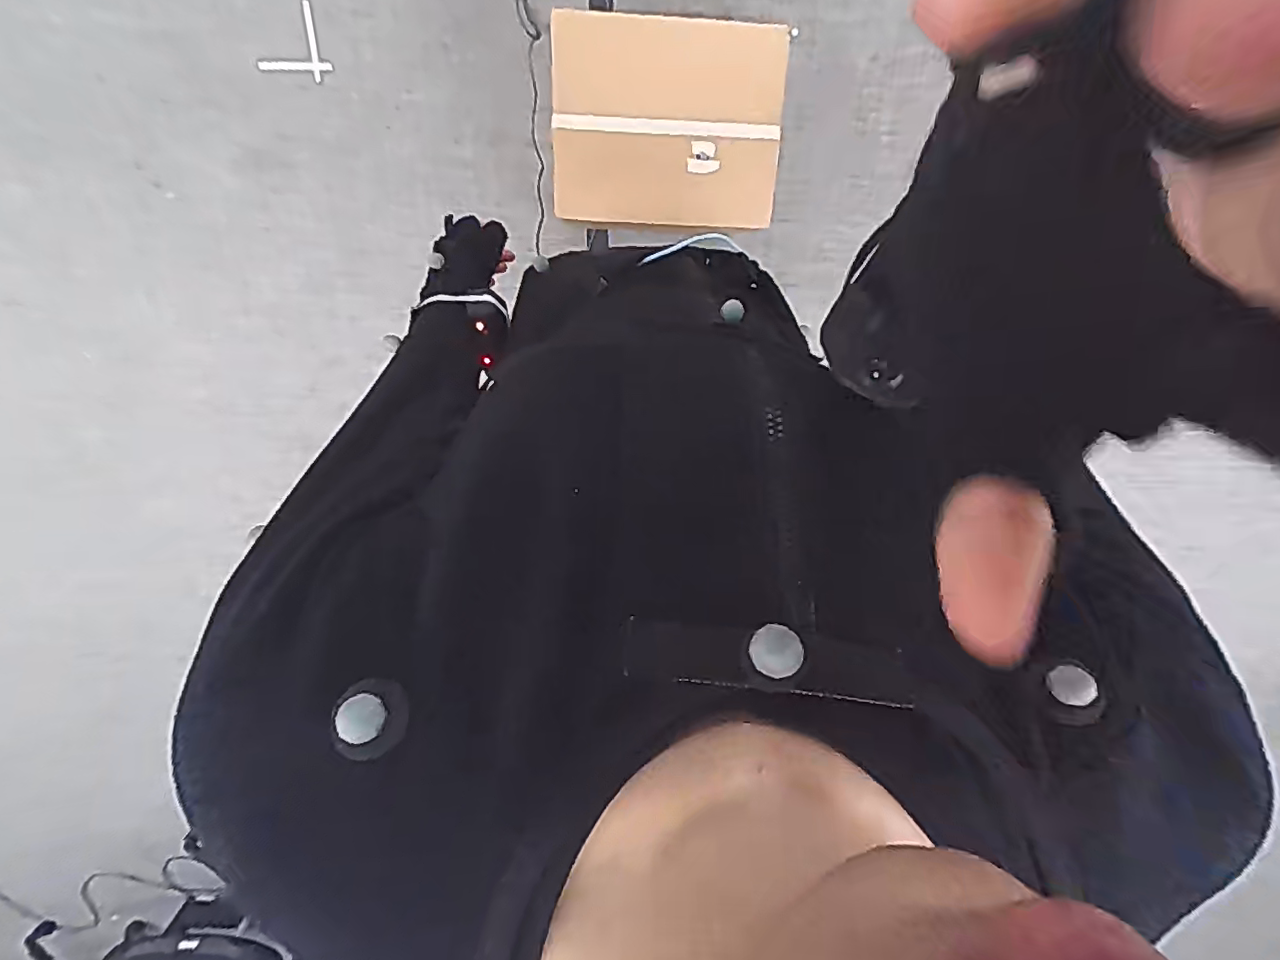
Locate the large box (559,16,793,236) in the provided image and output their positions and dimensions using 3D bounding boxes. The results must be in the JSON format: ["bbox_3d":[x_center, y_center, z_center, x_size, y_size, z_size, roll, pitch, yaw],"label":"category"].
[{"bbox_3d":[0.048,-0.679,1.102,0.408,0.320,0.320,2,113,-4],"label":"large box"}]
